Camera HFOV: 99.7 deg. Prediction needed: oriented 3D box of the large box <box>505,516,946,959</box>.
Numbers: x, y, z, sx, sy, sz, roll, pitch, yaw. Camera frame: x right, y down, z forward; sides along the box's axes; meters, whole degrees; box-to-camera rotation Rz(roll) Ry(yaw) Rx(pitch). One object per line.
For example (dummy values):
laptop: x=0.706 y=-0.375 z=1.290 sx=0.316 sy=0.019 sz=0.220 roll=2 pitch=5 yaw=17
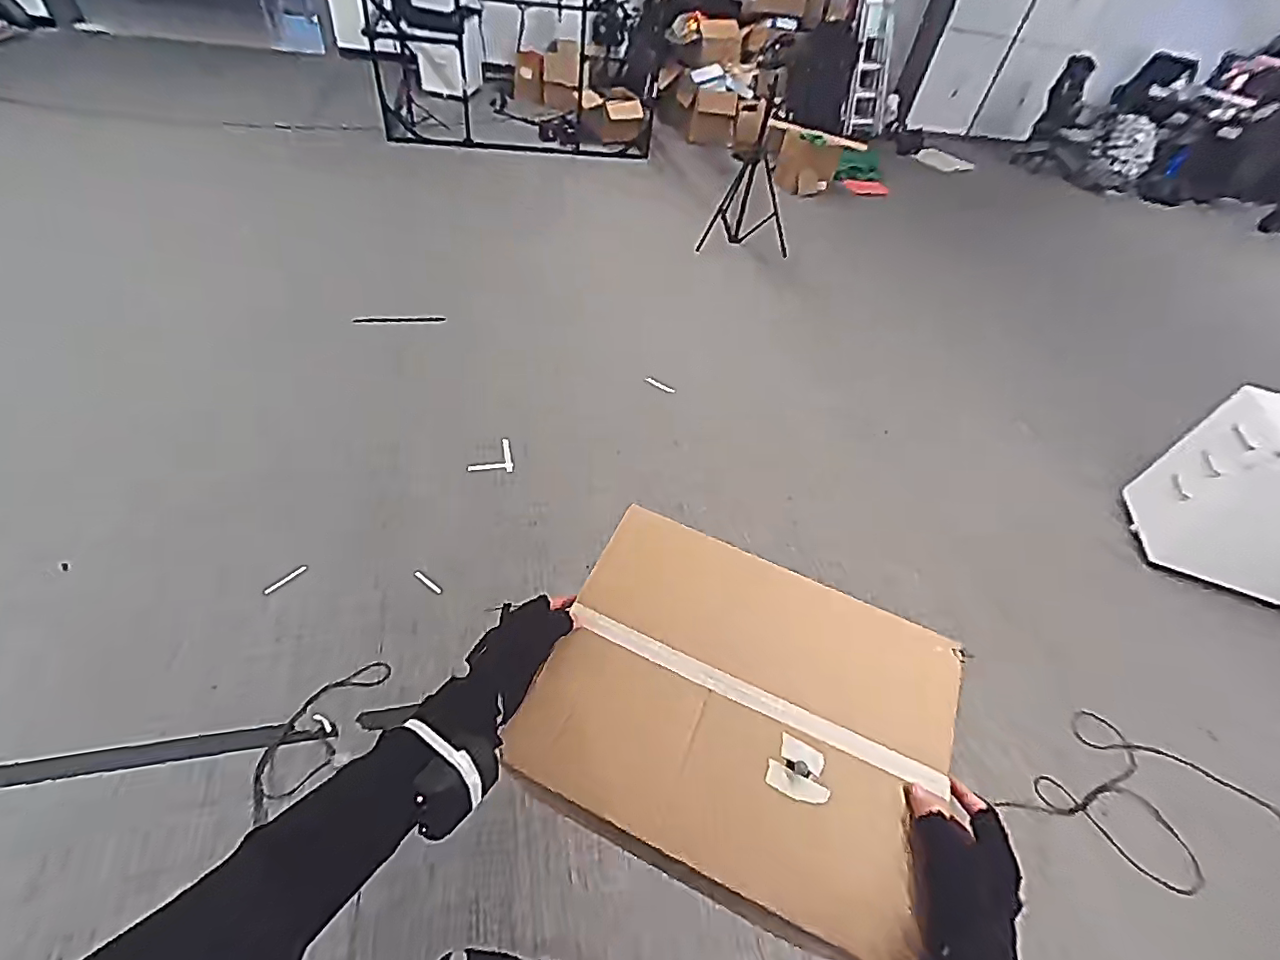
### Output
large box: x=0.095 y=0.311 z=0.687 sx=0.408 sy=0.320 sz=0.320 roll=23 pitch=57 yaw=11
